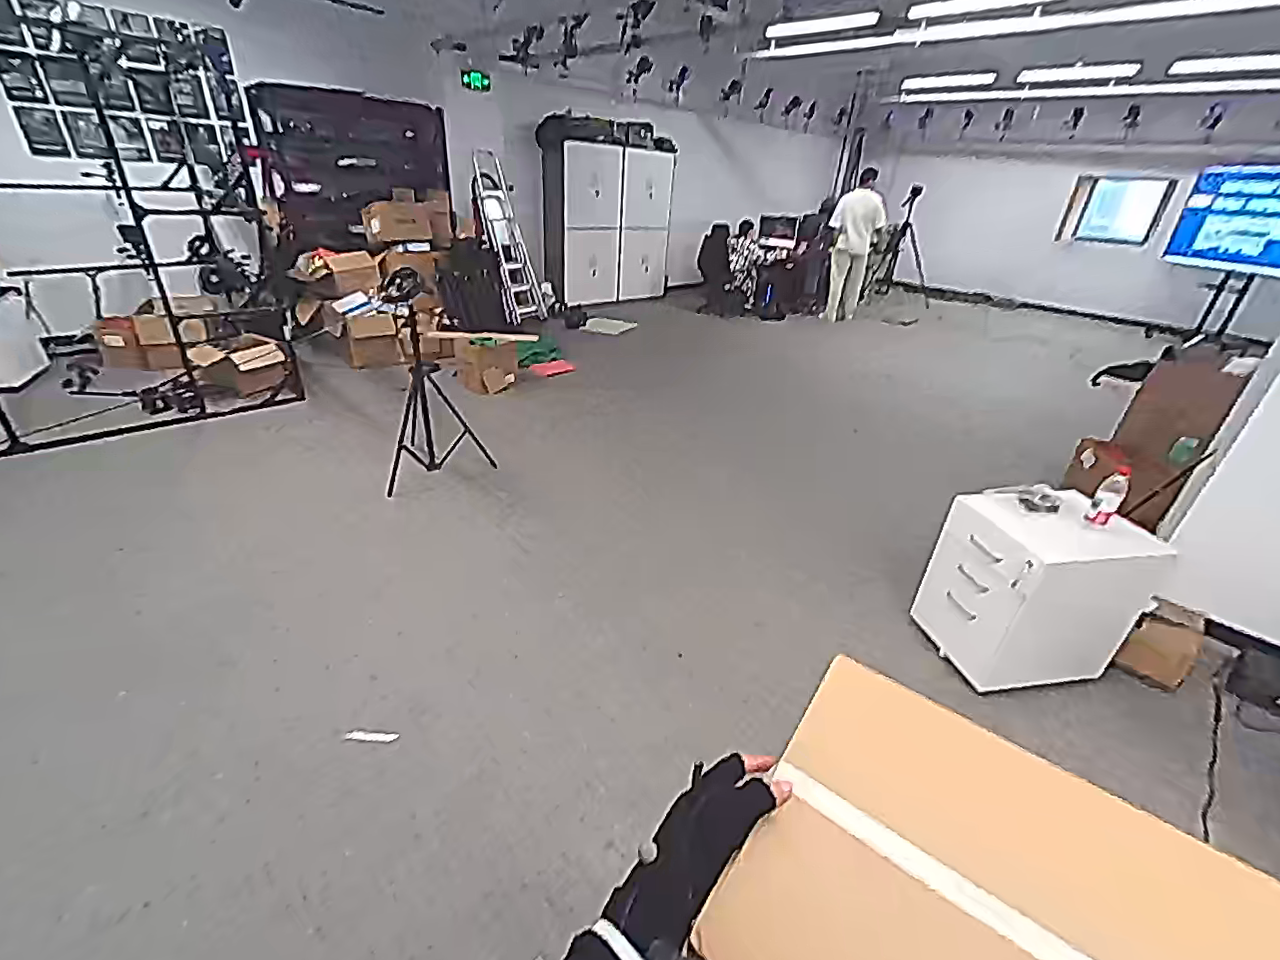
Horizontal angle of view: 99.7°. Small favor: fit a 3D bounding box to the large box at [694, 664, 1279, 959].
[{"bbox_3d":[0.292,0.467,0.515,0.408,0.320,0.320,24,46,29],"label":"large box"}]
